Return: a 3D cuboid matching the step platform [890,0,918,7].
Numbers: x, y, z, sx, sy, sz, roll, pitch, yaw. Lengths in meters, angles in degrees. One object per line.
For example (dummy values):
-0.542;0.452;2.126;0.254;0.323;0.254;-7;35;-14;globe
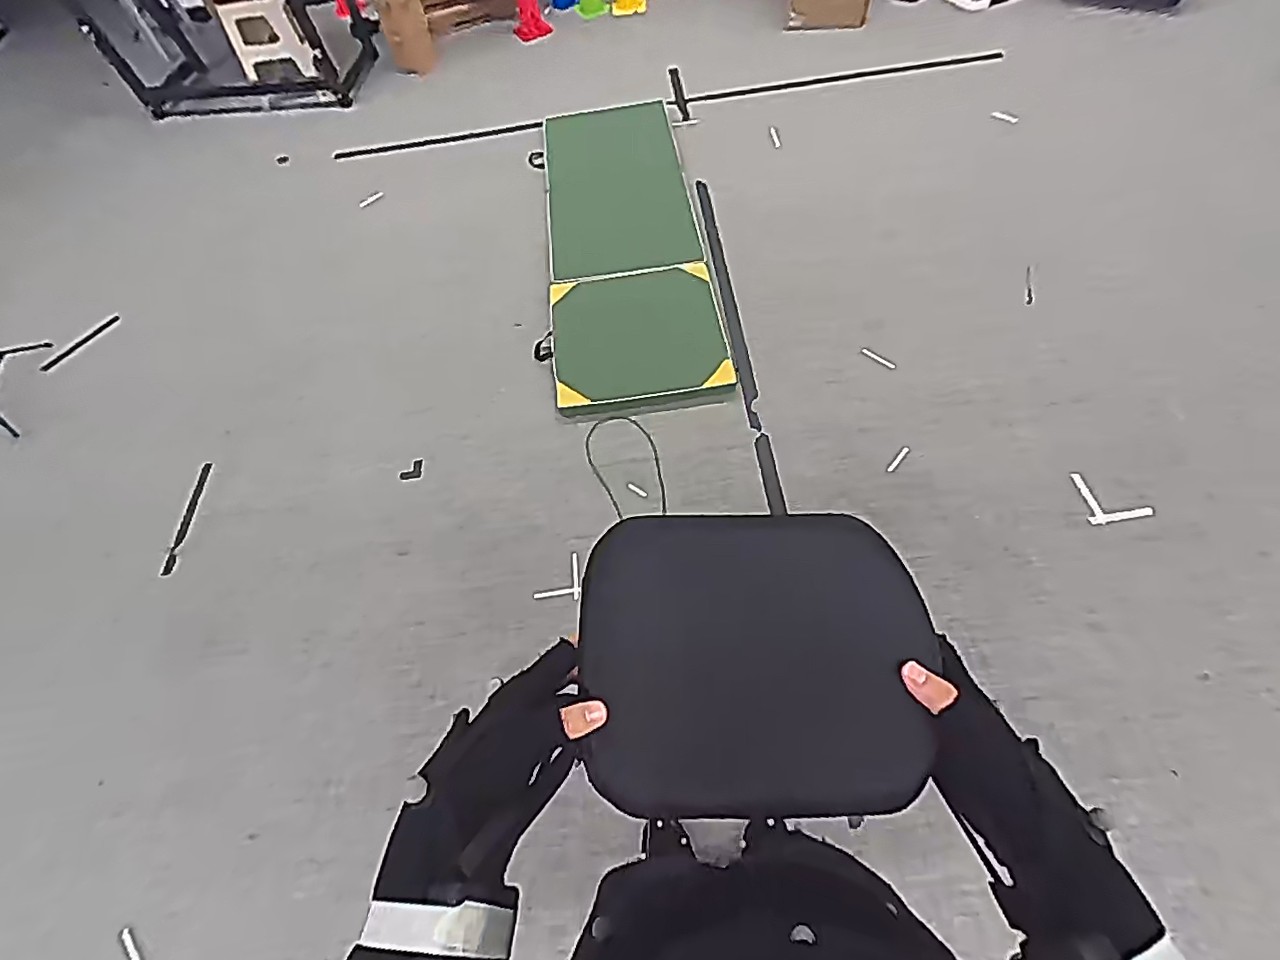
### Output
1.660;-2.930;3.048;0.684;0.204;0.286;-34;63;-12;step platform
